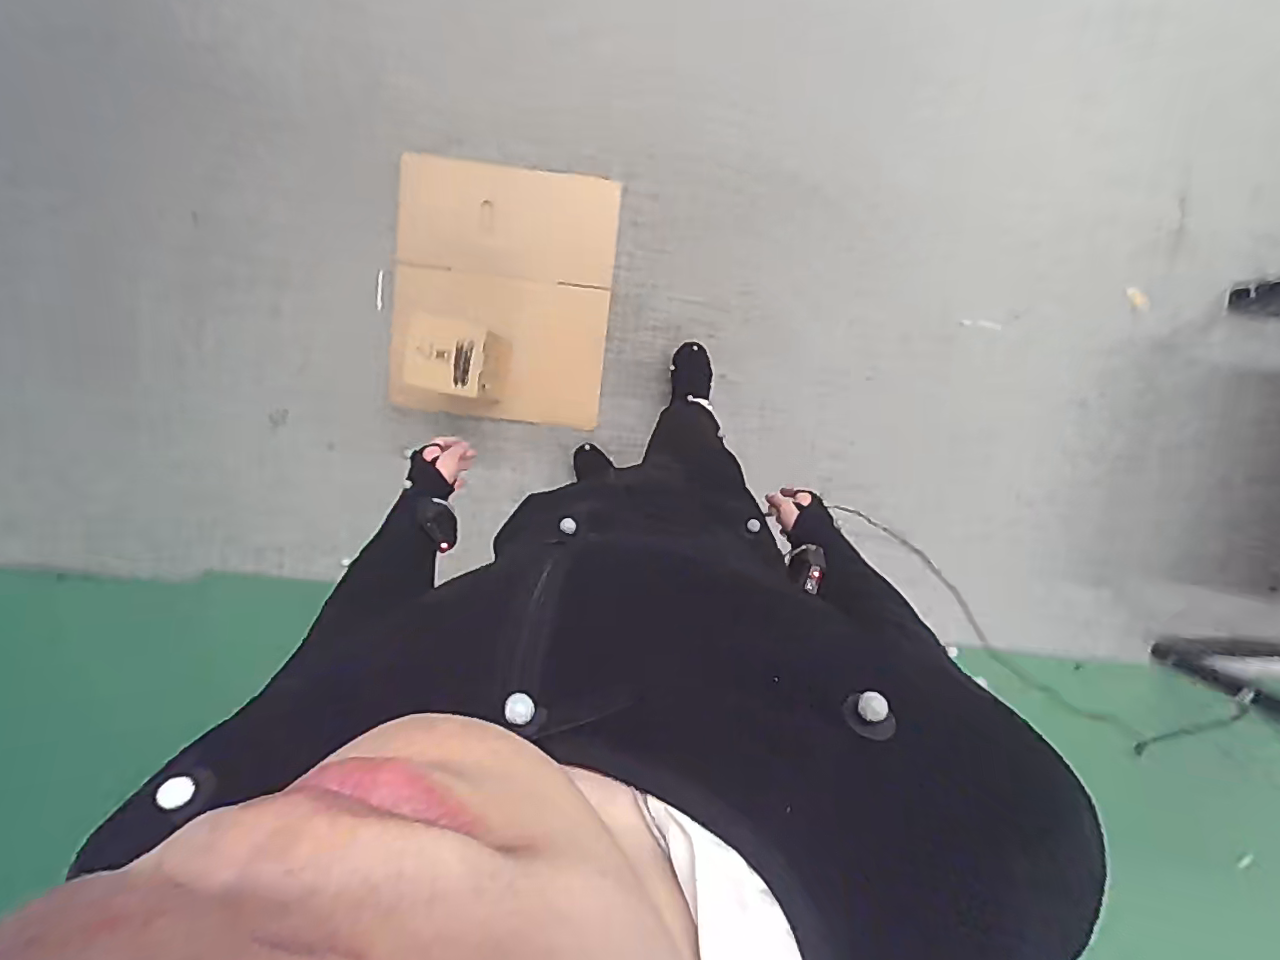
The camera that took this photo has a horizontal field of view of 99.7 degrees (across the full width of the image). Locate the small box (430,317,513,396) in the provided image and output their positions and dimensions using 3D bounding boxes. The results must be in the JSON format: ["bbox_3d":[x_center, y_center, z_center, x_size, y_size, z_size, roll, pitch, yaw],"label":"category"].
[{"bbox_3d":[-0.454,-0.331,1.480,0.168,0.176,0.179,10,97,-3],"label":"small box"}]
